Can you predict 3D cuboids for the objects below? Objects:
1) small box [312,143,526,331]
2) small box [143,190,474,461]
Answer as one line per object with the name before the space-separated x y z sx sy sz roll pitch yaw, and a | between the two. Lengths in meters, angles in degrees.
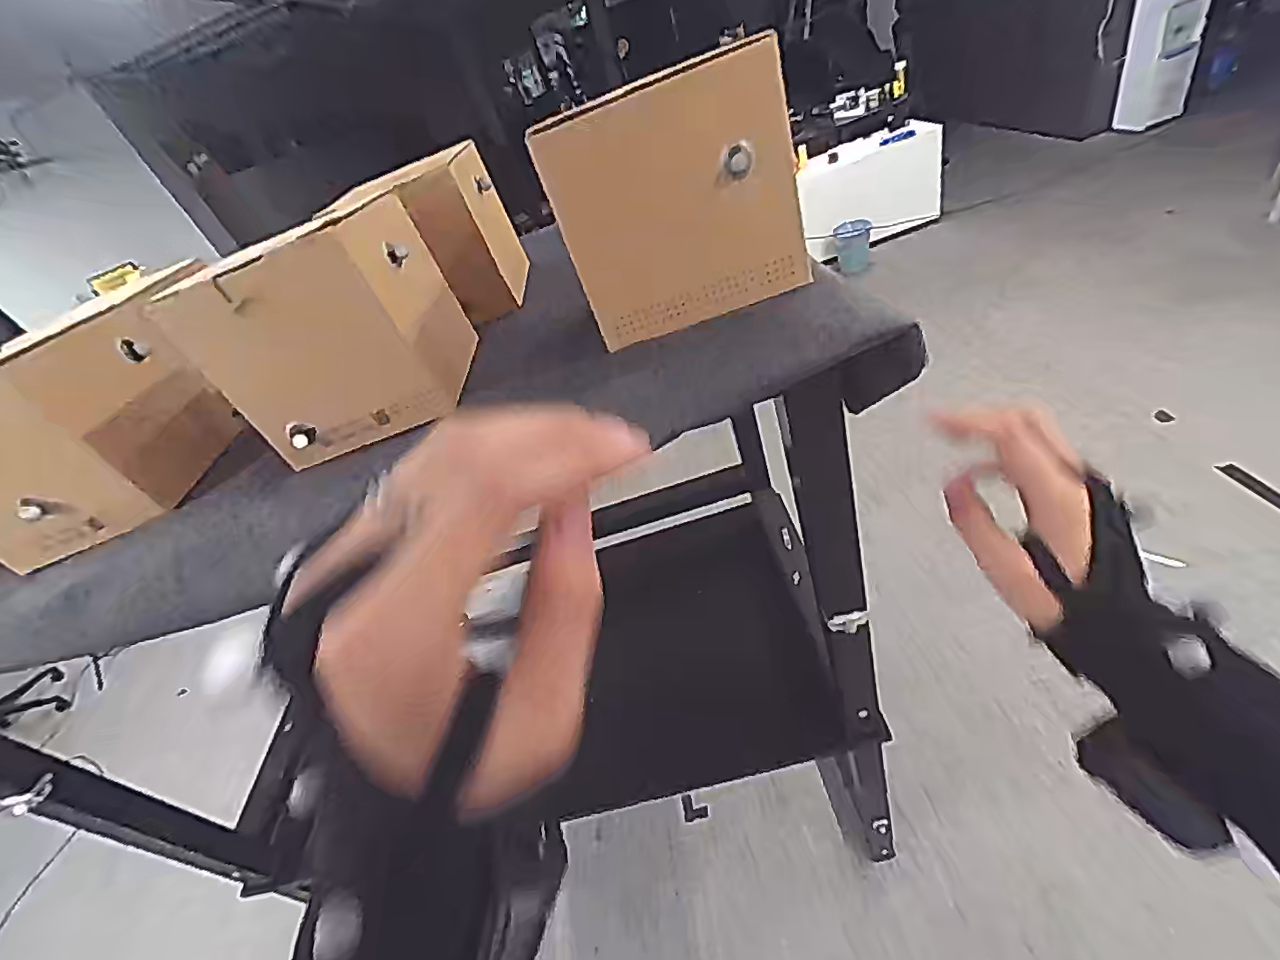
small box | -0.254 -0.288 0.673 0.168 0.176 0.179 -18 39 7
small box | -0.274 -0.137 0.502 0.168 0.176 0.179 -20 36 6
